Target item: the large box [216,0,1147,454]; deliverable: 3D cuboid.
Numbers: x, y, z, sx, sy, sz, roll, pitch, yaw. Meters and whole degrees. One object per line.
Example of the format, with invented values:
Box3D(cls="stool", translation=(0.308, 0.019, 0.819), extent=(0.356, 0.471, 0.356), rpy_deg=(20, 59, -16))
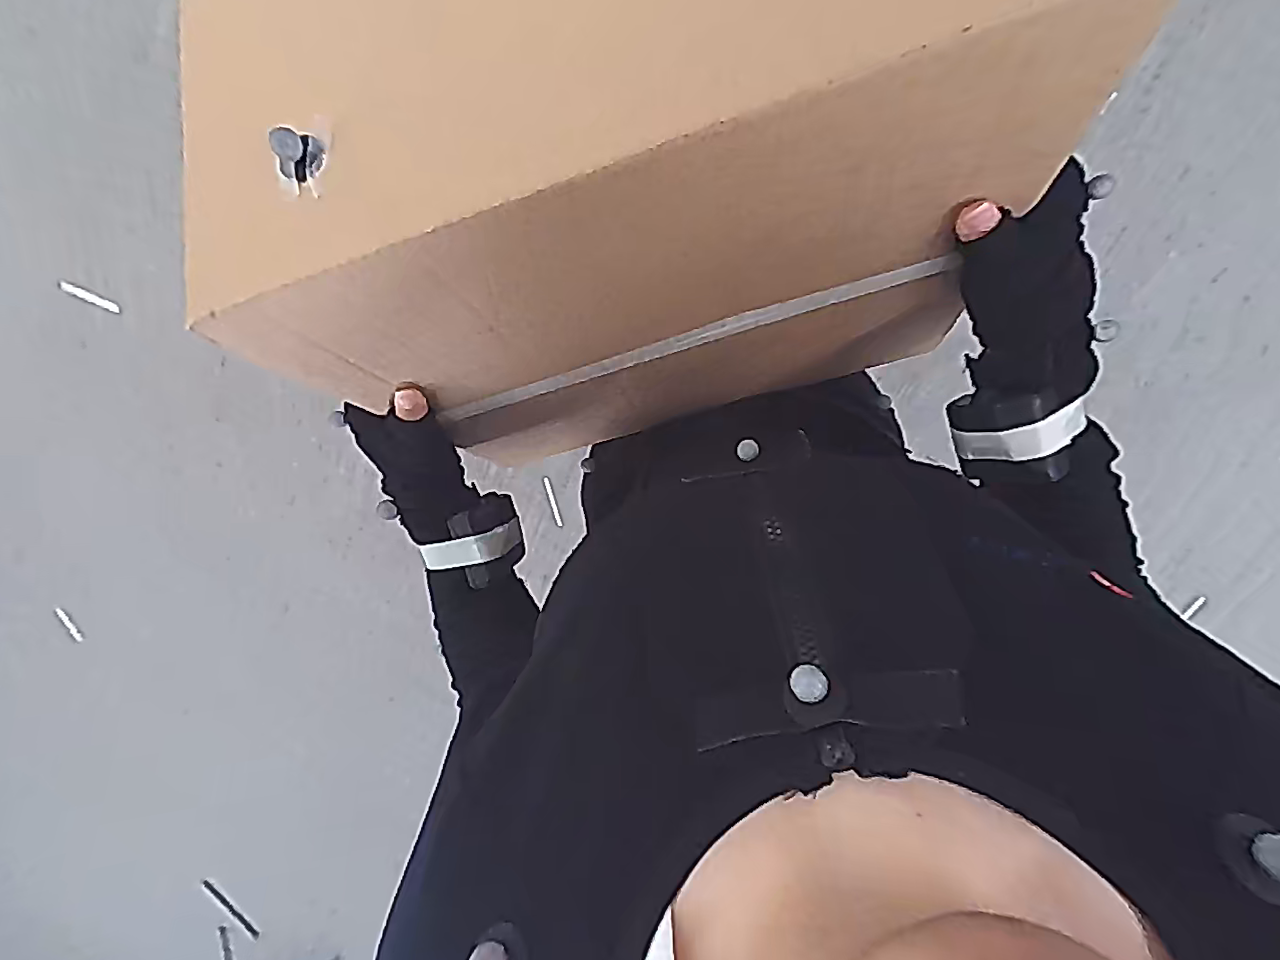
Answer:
Box3D(cls="large box", translation=(-0.005, -0.244, 0.393), extent=(0.408, 0.320, 0.320), rpy_deg=(-14, 77, 10))
